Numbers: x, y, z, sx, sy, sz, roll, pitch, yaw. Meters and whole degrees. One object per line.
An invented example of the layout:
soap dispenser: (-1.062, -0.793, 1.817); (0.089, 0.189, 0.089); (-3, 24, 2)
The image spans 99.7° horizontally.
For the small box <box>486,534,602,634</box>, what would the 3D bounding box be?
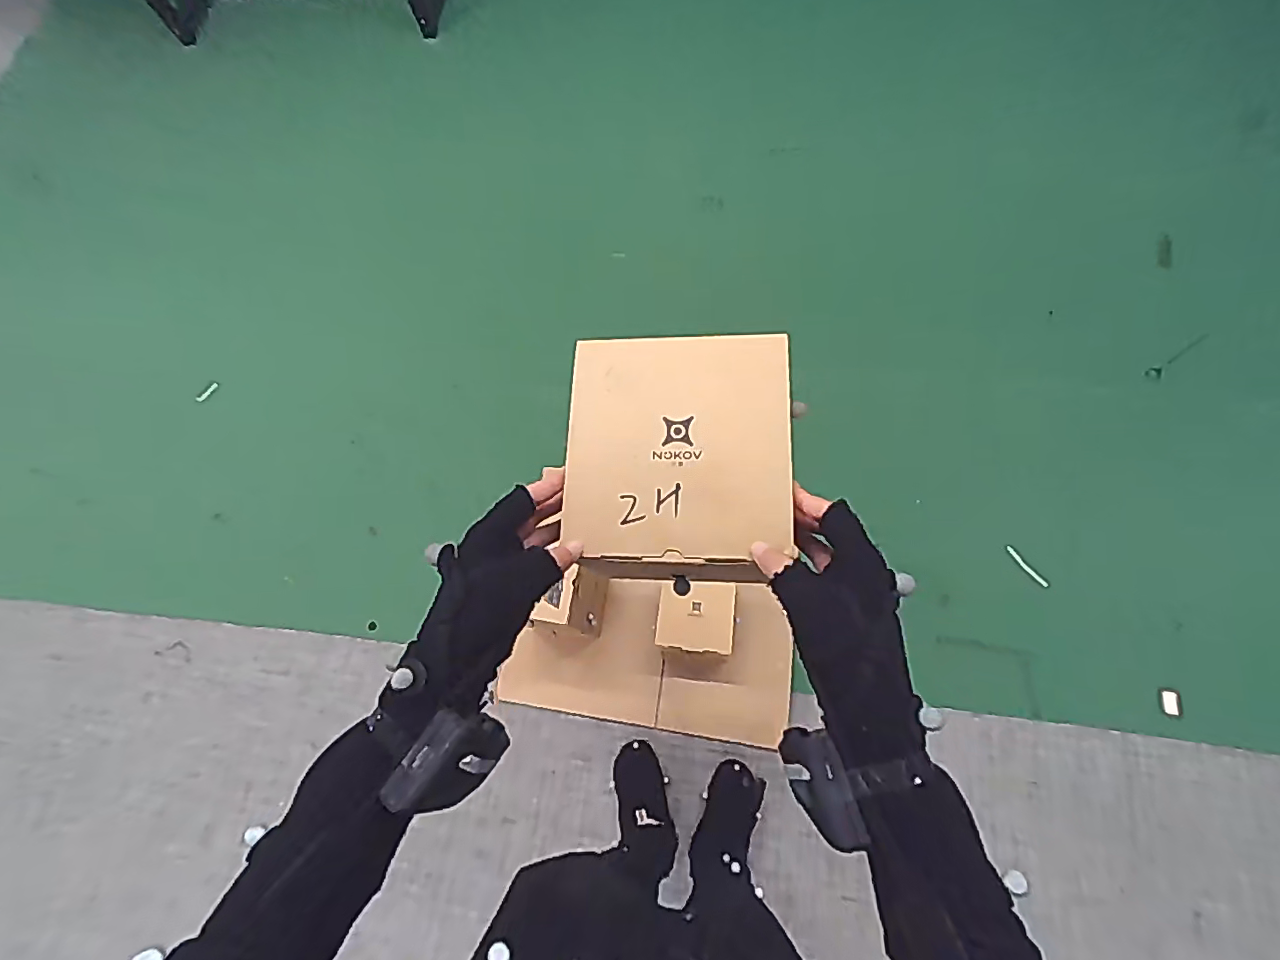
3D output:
small box: (-0.191, 0.224, 1.136); (0.179, 0.176, 0.168); (8, 71, 12)

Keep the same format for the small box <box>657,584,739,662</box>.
small box: (0.135, 0.315, 1.241); (0.168, 0.176, 0.179); (4, 71, 9)

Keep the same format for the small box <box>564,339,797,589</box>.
small box: (0.041, -0.003, 0.474); (0.168, 0.176, 0.179); (1, 75, 9)
